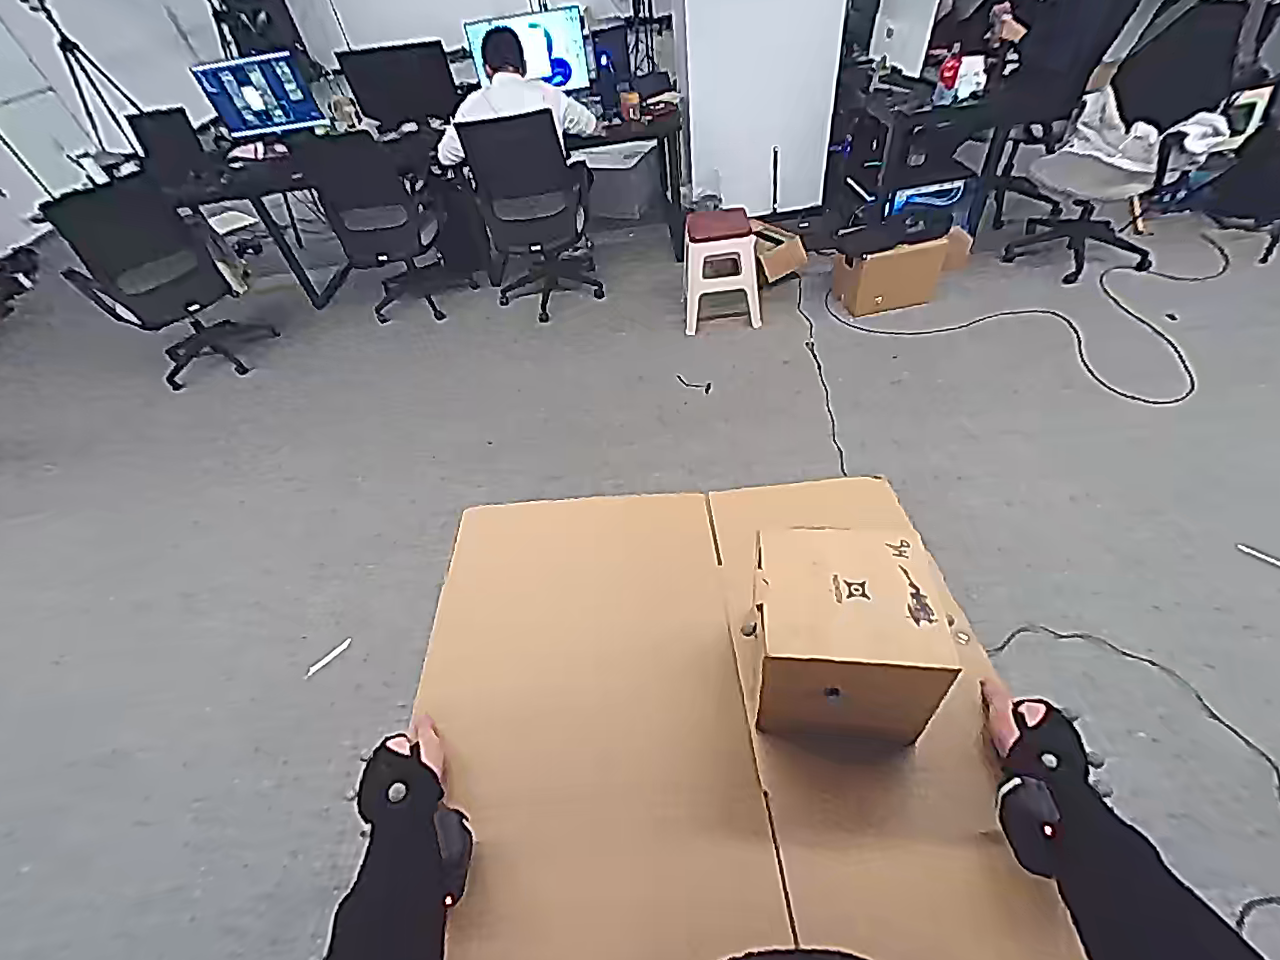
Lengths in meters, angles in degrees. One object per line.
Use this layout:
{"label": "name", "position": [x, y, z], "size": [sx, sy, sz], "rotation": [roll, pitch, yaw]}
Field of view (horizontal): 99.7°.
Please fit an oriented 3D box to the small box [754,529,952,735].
{"label": "small box", "position": [0.221, 0.173, 0.617], "size": [0.179, 0.176, 0.168], "rotation": [0, 44, 10]}
